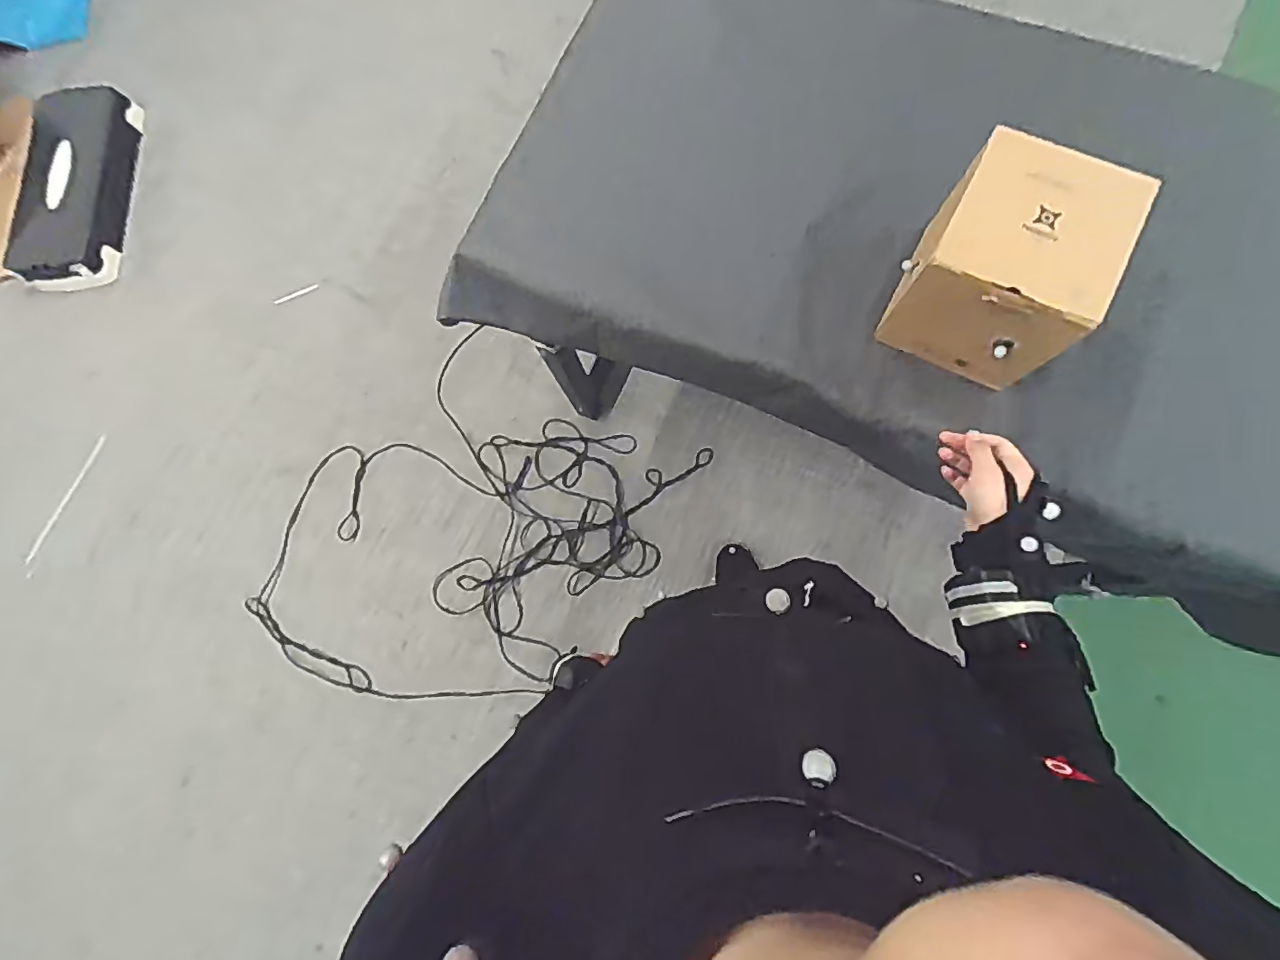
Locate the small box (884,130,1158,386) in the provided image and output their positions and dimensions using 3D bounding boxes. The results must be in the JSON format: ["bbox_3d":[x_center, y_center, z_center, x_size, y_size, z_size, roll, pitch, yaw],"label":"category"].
[{"bbox_3d":[0.401,-0.232,0.606,0.168,0.176,0.179,27,80,9],"label":"small box"}]
